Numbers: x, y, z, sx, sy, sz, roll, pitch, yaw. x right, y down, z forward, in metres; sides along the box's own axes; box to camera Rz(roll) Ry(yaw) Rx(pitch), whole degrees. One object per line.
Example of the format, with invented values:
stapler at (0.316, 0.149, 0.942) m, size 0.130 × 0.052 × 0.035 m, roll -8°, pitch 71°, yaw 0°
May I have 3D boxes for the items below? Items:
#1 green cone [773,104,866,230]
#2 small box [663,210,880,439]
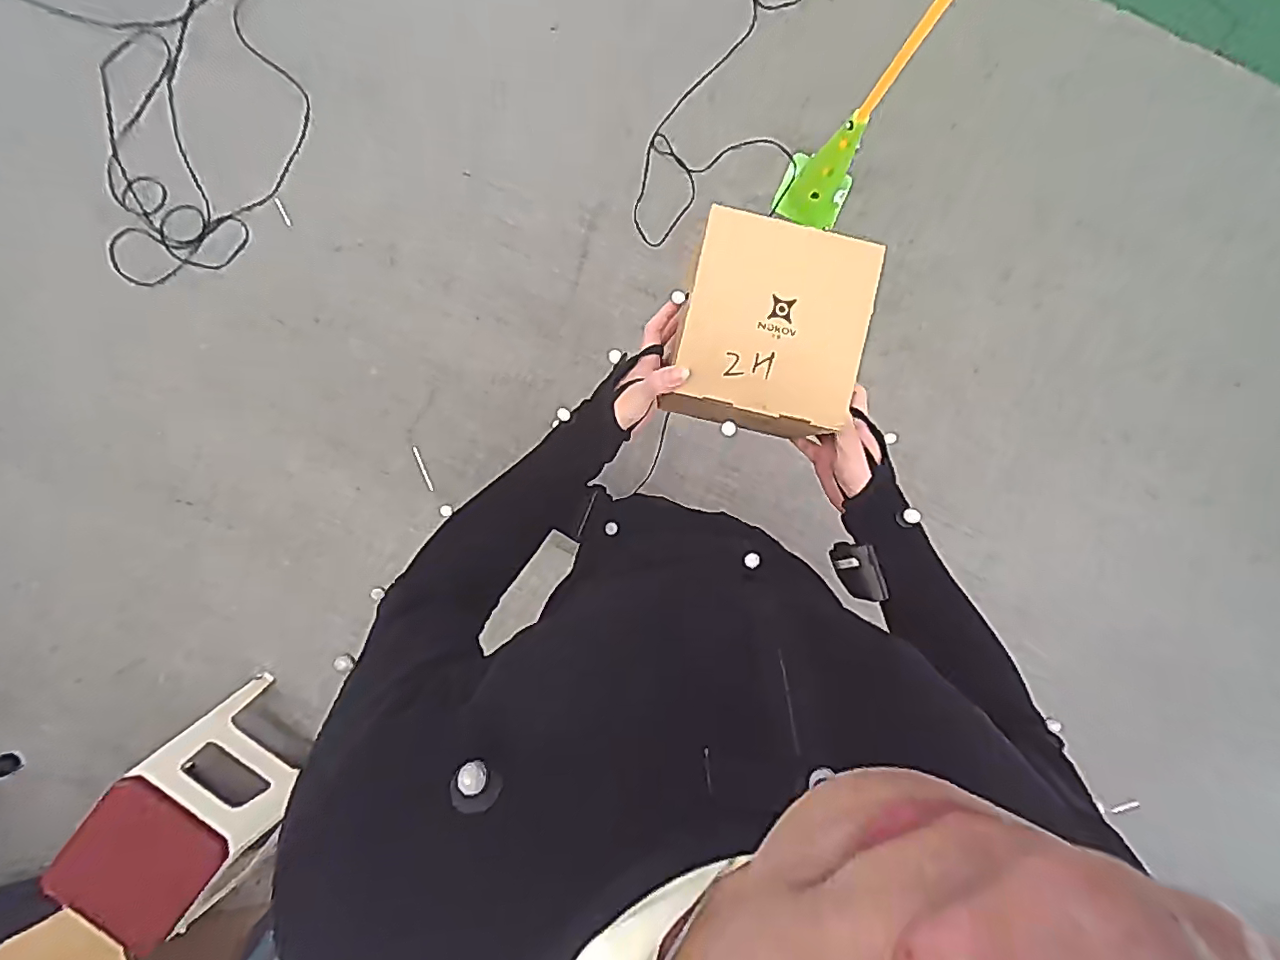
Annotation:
green cone at (0.535, -0.896, 1.495) m, size 0.202 × 0.368 × 0.200 m, roll 24°, pitch 88°, yaw 0°
small box at (0.124, -0.149, 0.582) m, size 0.168 × 0.176 × 0.179 m, roll 14°, pitch 91°, yaw -2°
